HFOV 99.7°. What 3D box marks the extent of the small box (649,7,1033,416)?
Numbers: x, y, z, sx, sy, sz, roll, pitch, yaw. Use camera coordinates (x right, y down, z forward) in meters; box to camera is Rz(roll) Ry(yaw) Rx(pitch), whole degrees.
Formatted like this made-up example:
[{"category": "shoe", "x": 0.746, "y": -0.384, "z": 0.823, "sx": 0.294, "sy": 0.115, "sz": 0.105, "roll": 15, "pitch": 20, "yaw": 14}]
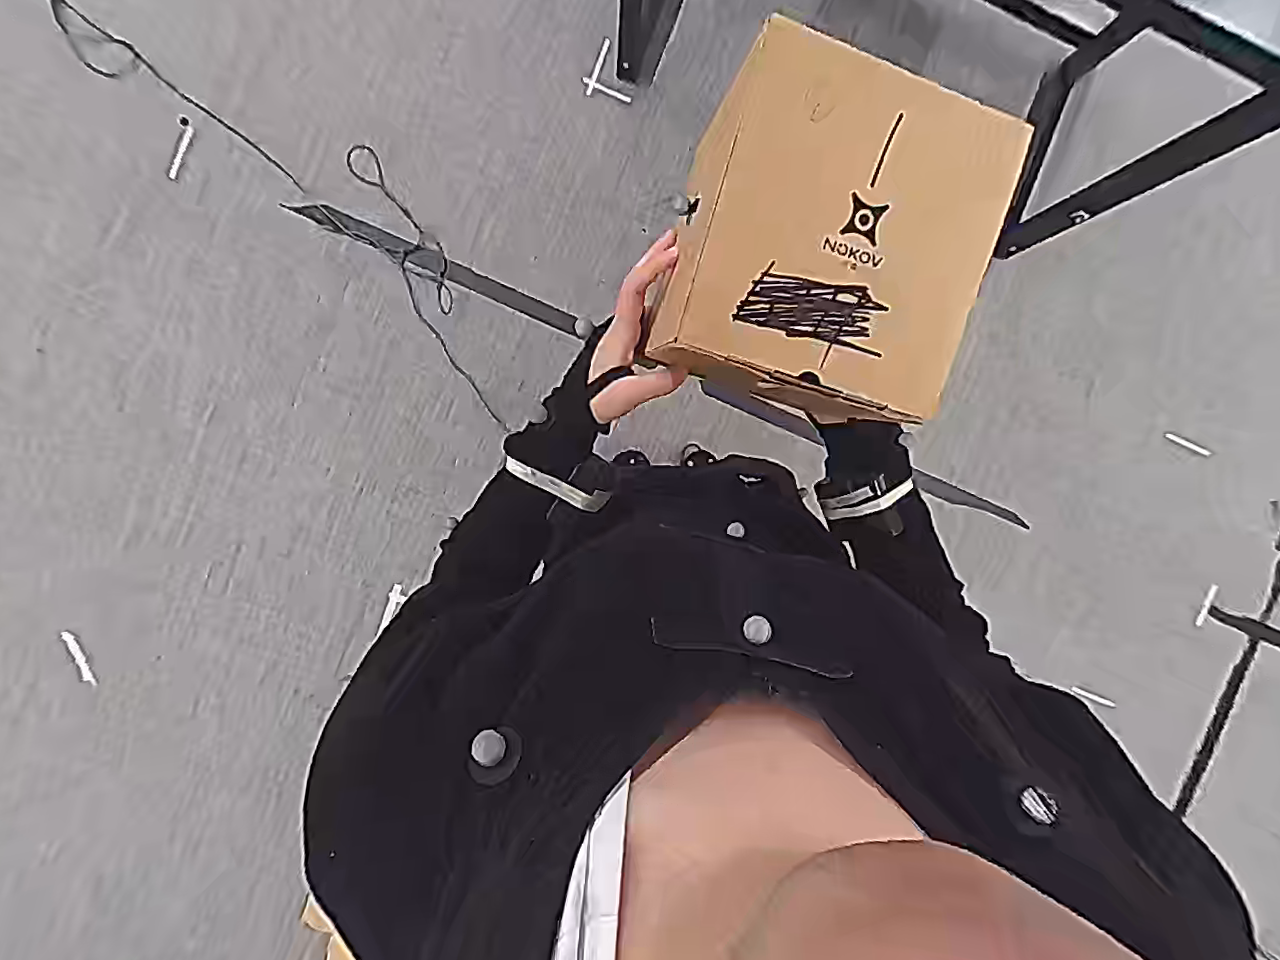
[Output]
[{"category": "small box", "x": 0.111, "y": -0.154, "z": 0.379, "sx": 0.168, "sy": 0.176, "sz": 0.179, "roll": 15, "pitch": 97, "yaw": -10}]
